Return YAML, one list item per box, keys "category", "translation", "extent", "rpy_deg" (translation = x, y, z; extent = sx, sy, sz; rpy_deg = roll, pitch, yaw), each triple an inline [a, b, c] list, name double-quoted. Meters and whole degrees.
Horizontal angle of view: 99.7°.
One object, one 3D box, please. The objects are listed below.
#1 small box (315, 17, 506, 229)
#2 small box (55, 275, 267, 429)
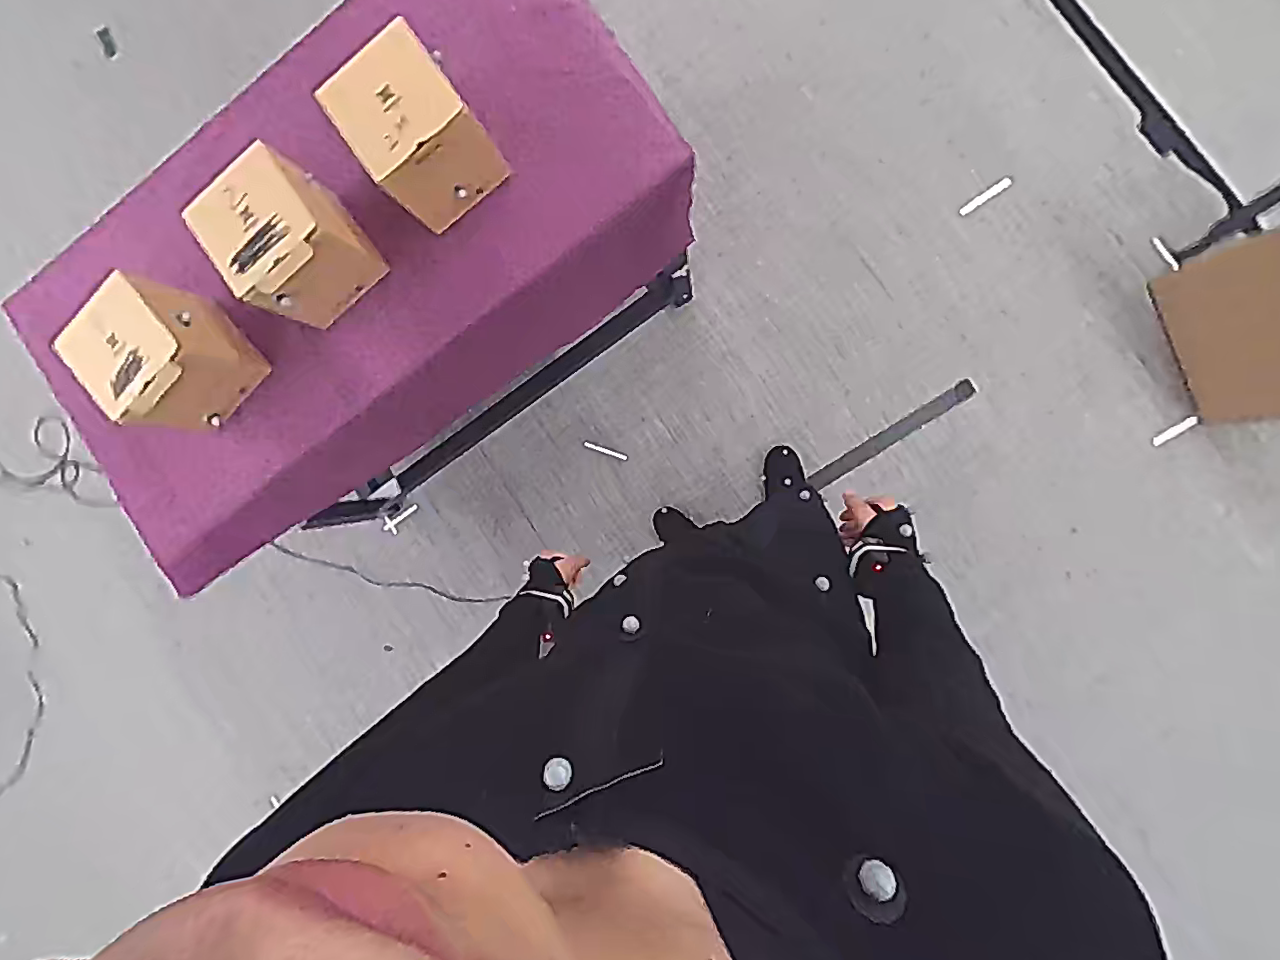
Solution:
- category: "small box"
  translation: [-0.341, -0.532, 0.835]
  extent: [0.168, 0.176, 0.179]
  rpy_deg: [-36, 86, 8]
- category: "small box"
  translation: [-0.784, -0.199, 0.904]
  extent: [0.168, 0.176, 0.179]
  rpy_deg: [-44, 84, 6]
